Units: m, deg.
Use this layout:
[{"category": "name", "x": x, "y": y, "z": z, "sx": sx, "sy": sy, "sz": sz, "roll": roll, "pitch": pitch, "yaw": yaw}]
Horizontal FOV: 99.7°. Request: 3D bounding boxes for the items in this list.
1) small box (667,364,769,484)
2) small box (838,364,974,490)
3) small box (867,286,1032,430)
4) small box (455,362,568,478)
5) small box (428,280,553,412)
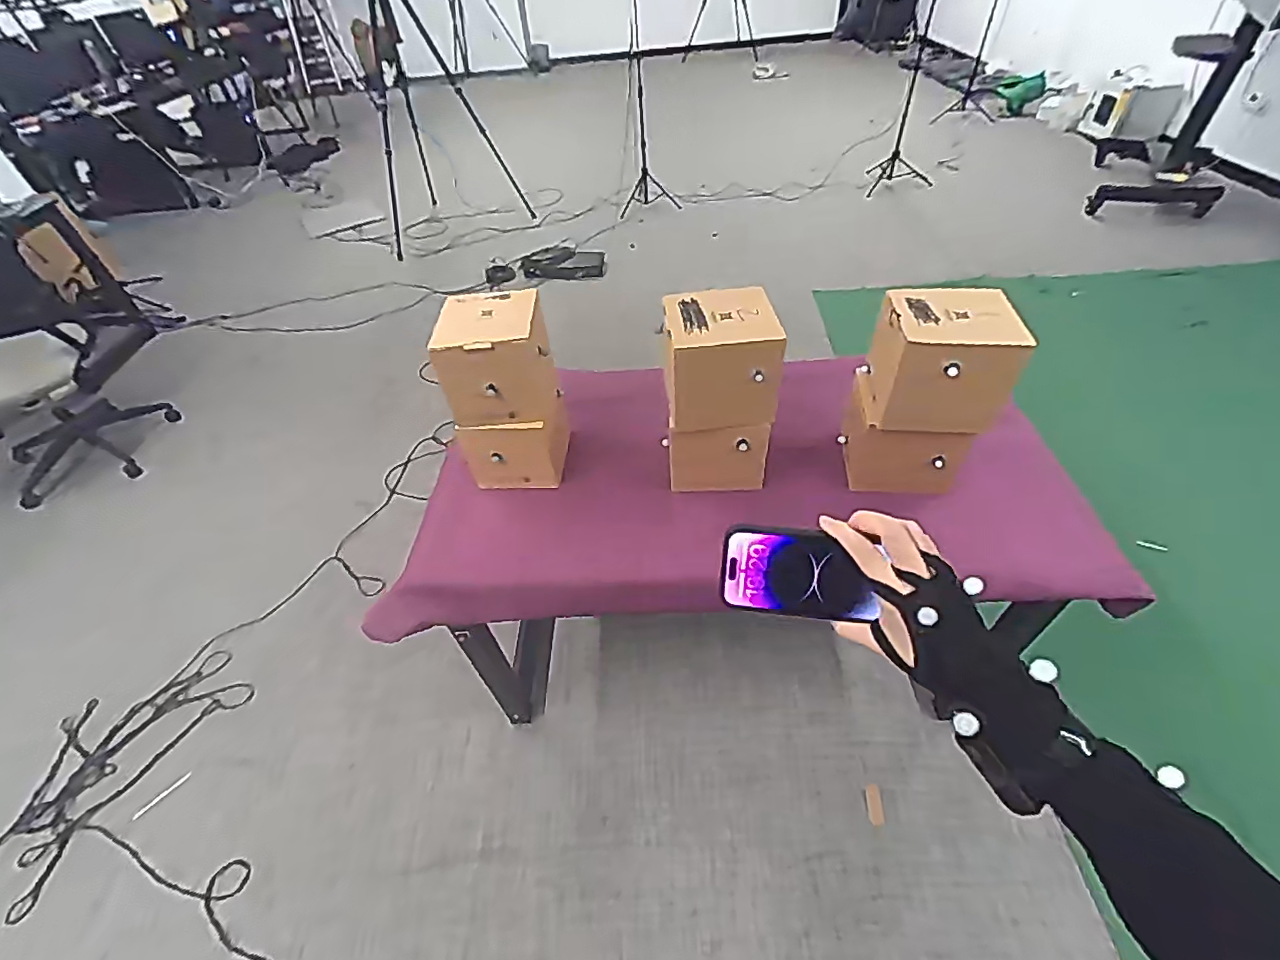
[{"category": "small box", "x": 0.143, "y": -0.105, "z": 1.041, "sx": 0.179, "sy": 0.176, "sz": 0.168, "roll": -1, "pitch": 47, "yaw": 5}, {"category": "small box", "x": 0.482, "y": -0.096, "z": 1.006, "sx": 0.179, "sy": 0.176, "sz": 0.168, "roll": 4, "pitch": 47, "yaw": 9}, {"category": "small box", "x": 0.479, "y": -0.196, "z": 0.875, "sx": 0.179, "sy": 0.176, "sz": 0.168, "roll": 4, "pitch": 48, "yaw": 8}, {"category": "small box", "x": -0.246, "y": -0.117, "z": 1.086, "sx": 0.168, "sy": 0.176, "sz": 0.179, "roll": 0, "pitch": 47, "yaw": 5}, {"category": "small box", "x": -0.256, "y": -0.234, "z": 0.971, "sx": 0.168, "sy": 0.176, "sz": 0.179, "roll": -3, "pitch": 48, "yaw": 1}]
